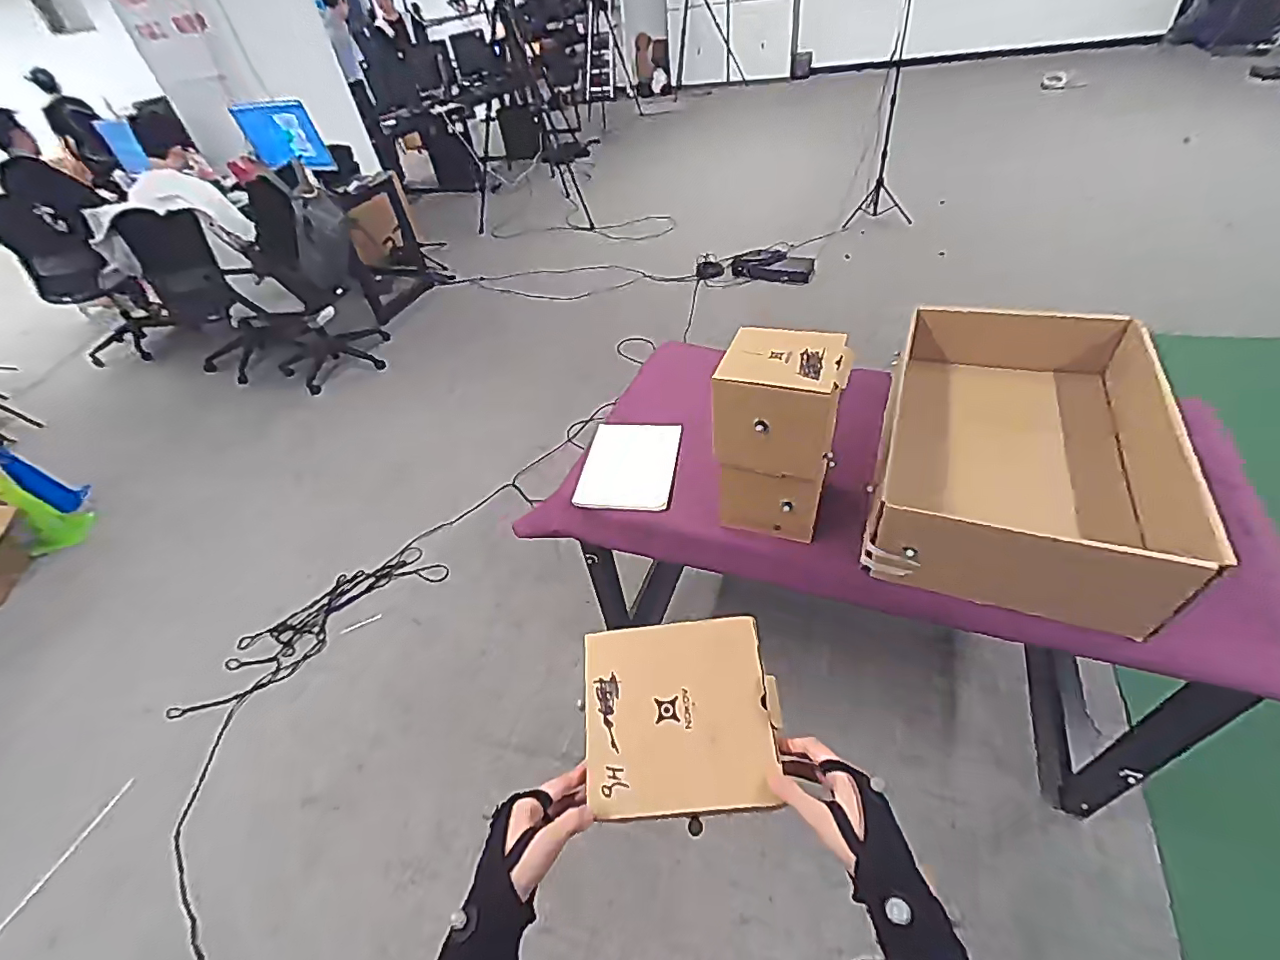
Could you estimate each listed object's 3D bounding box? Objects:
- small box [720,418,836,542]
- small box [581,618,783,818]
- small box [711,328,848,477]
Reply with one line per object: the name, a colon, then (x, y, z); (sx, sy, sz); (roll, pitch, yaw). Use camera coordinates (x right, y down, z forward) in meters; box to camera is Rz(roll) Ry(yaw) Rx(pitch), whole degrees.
small box: (0.254, -0.012, 0.998); (0.168, 0.176, 0.179); (12, 46, 21)
small box: (0.041, 0.257, 0.571); (0.179, 0.176, 0.168); (-6, 56, 4)
small box: (0.225, -0.125, 0.882); (0.179, 0.176, 0.168); (12, 46, 21)
